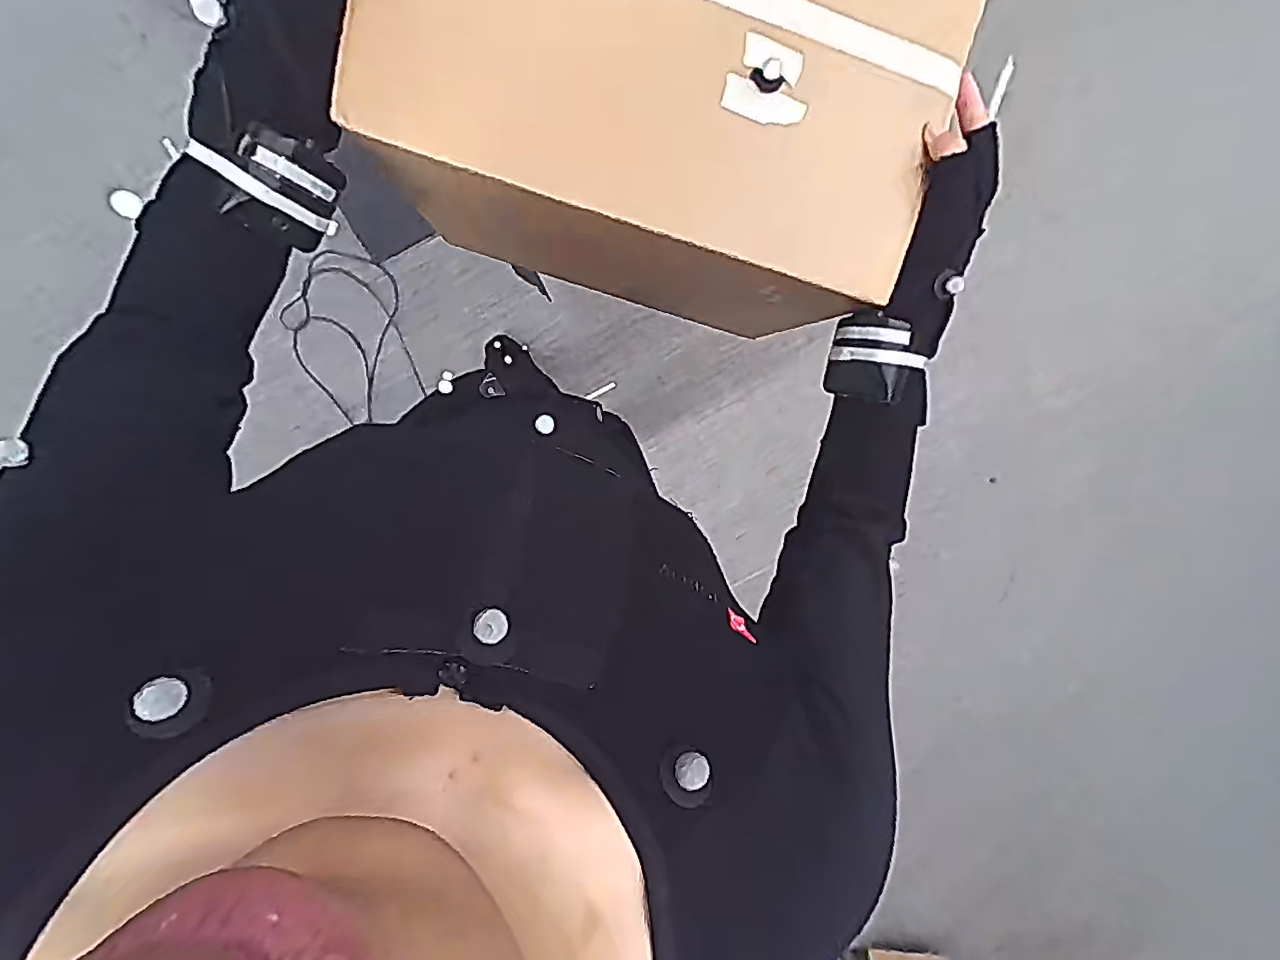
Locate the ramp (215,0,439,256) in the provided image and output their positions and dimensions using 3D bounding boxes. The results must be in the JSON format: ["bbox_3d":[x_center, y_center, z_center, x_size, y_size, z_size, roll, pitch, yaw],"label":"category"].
[{"bbox_3d":[-0.653,-1.074,1.167,0.509,0.206,0.991,-30,101,0],"label":"ramp"}]

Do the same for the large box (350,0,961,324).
[{"bbox_3d":[0.010,-0.367,0.517,0.408,0.320,0.320,13,99,-9],"label":"large box"}]
